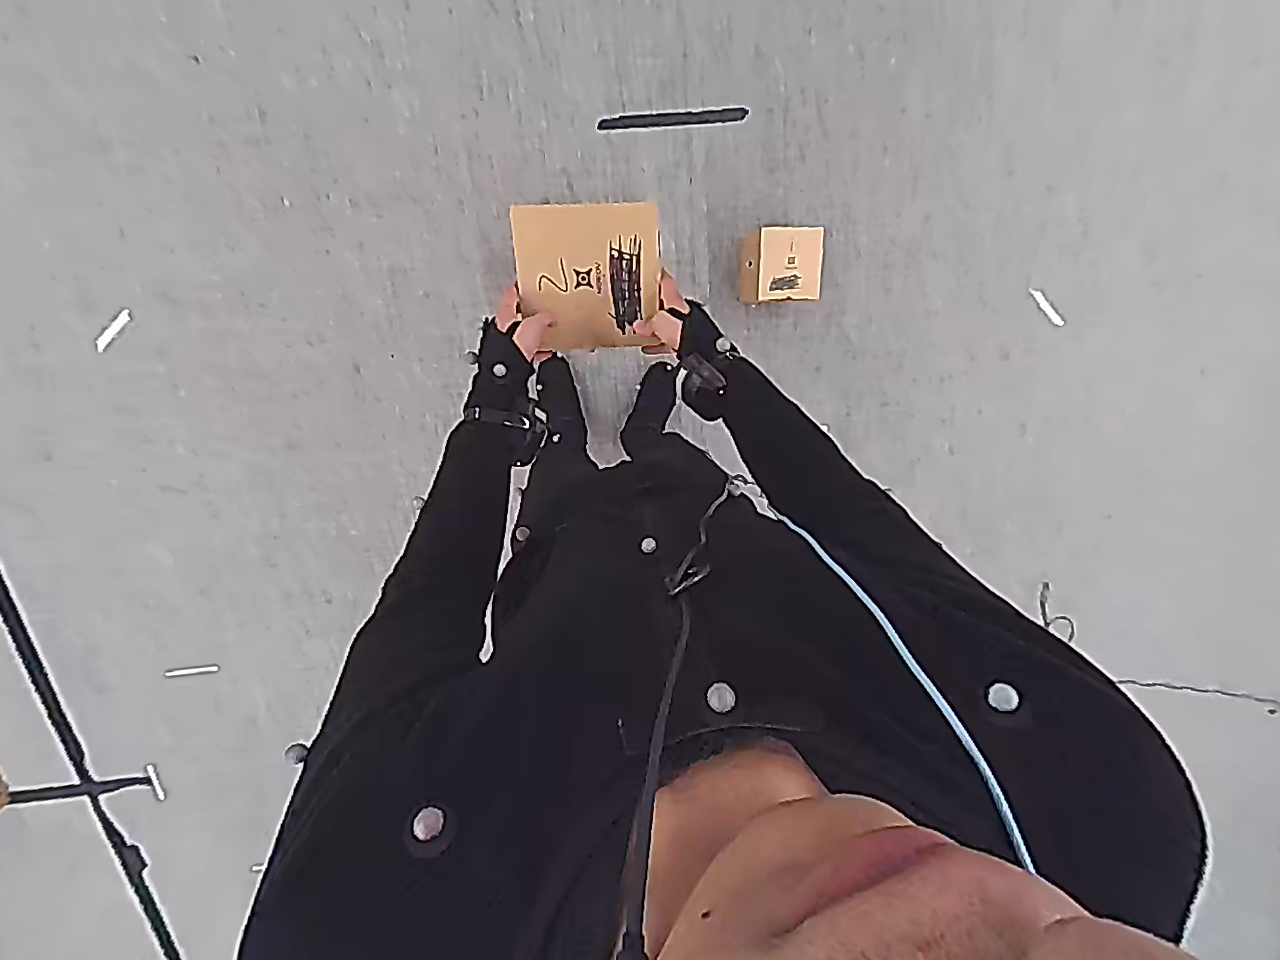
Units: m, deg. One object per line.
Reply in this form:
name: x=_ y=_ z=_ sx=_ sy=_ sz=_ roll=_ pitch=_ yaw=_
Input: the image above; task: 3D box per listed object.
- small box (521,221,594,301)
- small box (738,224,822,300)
small box: x=-0.205 y=-0.554 z=1.384 sx=0.168 sy=0.176 sz=0.179 roll=-4 pitch=106 yaw=-5
small box: x=0.366 y=-0.574 z=1.439 sx=0.168 sy=0.176 sz=0.179 roll=-3 pitch=106 yaw=-6
